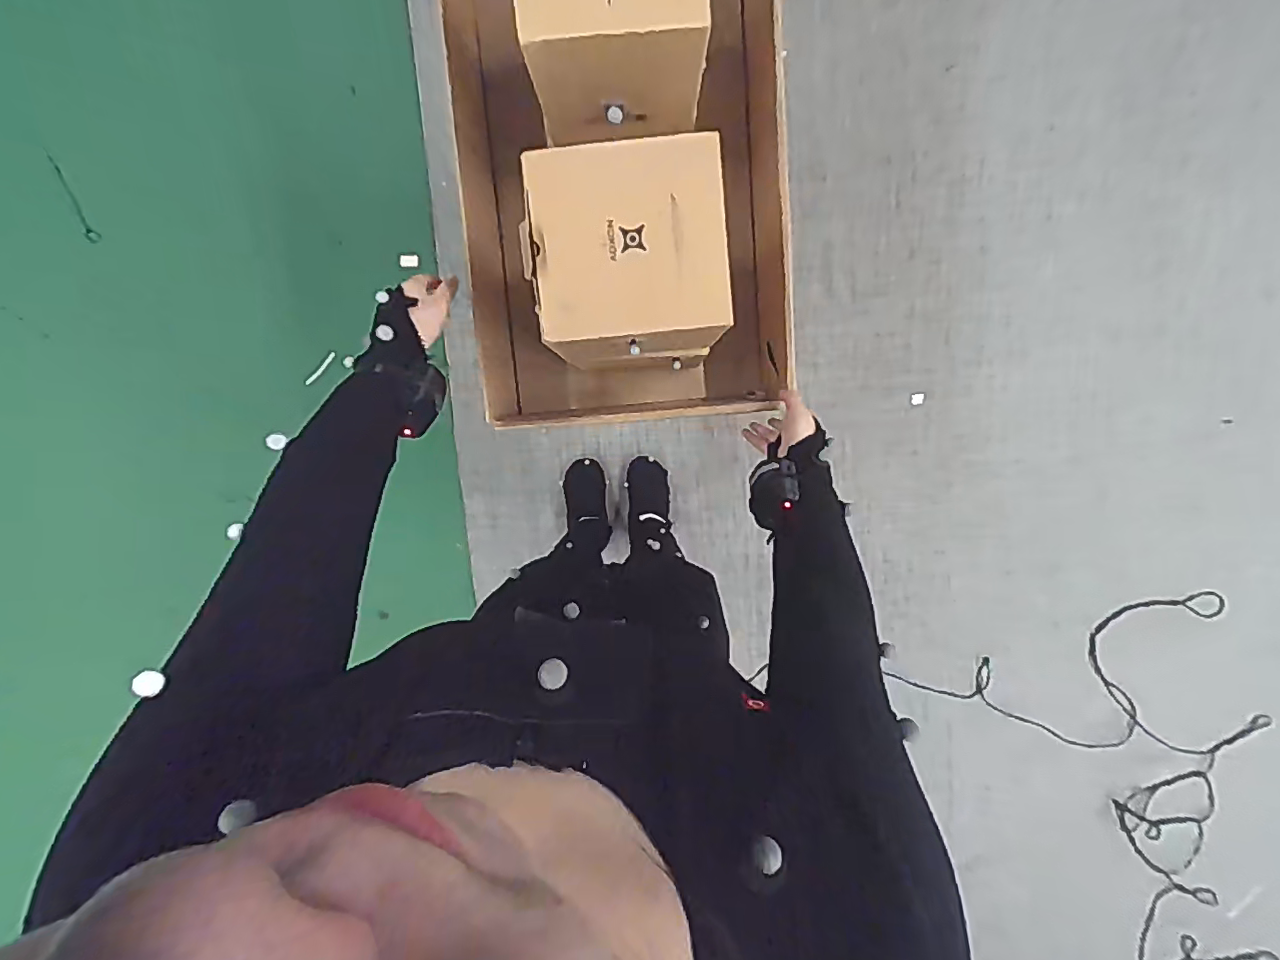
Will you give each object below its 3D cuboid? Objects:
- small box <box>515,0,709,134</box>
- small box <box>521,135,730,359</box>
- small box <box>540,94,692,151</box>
[{"bbox_3d":[-0.028,-0.471,0.524,0.168,0.176,0.179,-4,100,1],"label":"small box"},{"bbox_3d":[-0.011,-0.222,0.562,0.179,0.176,0.168,-6,98,1],"label":"small box"},{"bbox_3d":[-0.027,-0.501,0.687,0.179,0.176,0.168,-3,100,2],"label":"small box"}]
